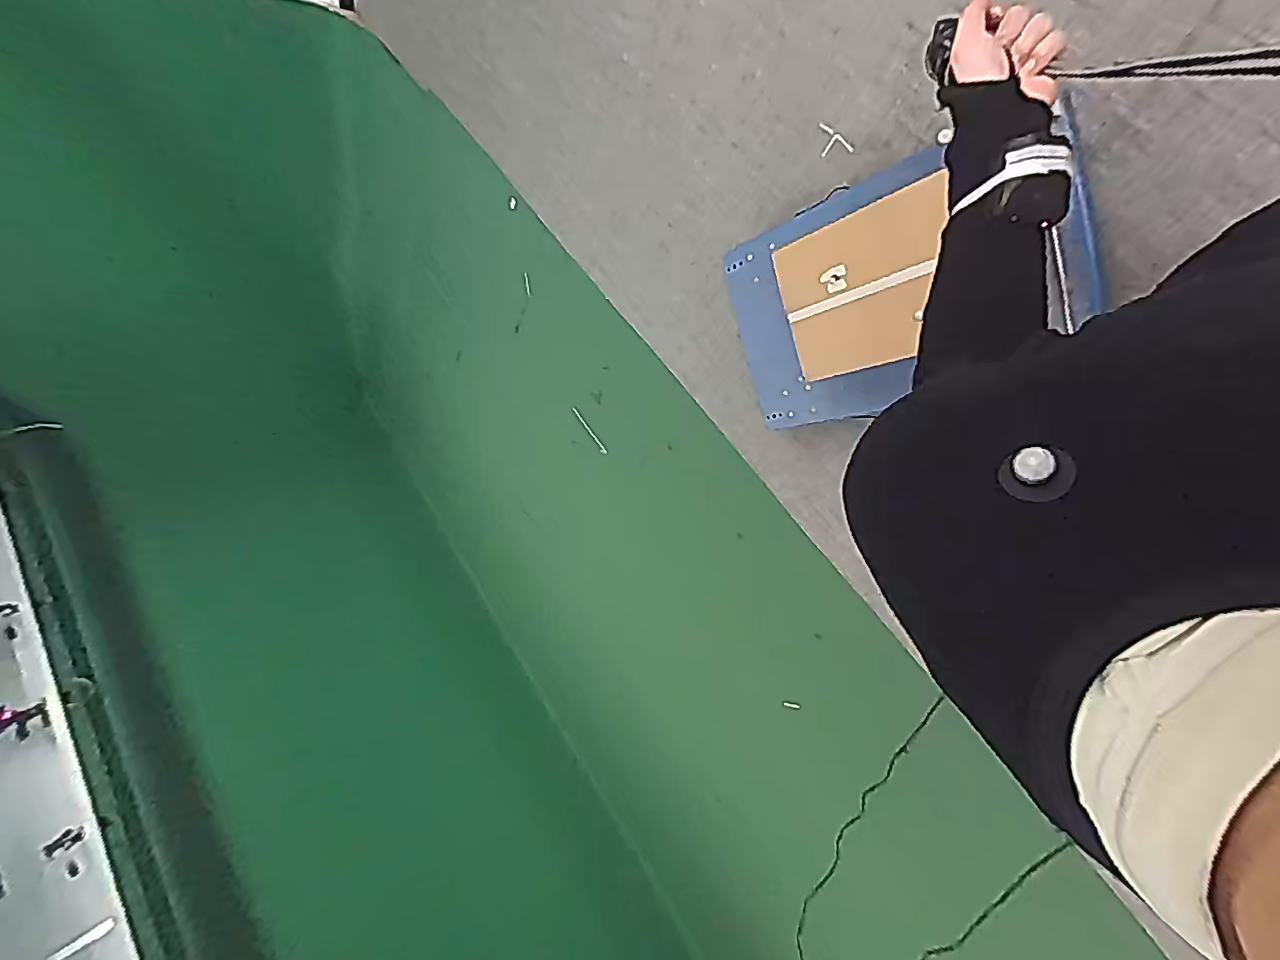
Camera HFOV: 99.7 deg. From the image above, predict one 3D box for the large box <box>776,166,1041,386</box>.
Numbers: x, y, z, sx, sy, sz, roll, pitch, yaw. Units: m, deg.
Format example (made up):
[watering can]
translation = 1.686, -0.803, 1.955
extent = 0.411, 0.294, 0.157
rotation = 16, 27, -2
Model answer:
[large box]
translation = 0.587, -0.434, 1.199
extent = 0.408, 0.320, 0.320
rotation = -8, 102, 51
